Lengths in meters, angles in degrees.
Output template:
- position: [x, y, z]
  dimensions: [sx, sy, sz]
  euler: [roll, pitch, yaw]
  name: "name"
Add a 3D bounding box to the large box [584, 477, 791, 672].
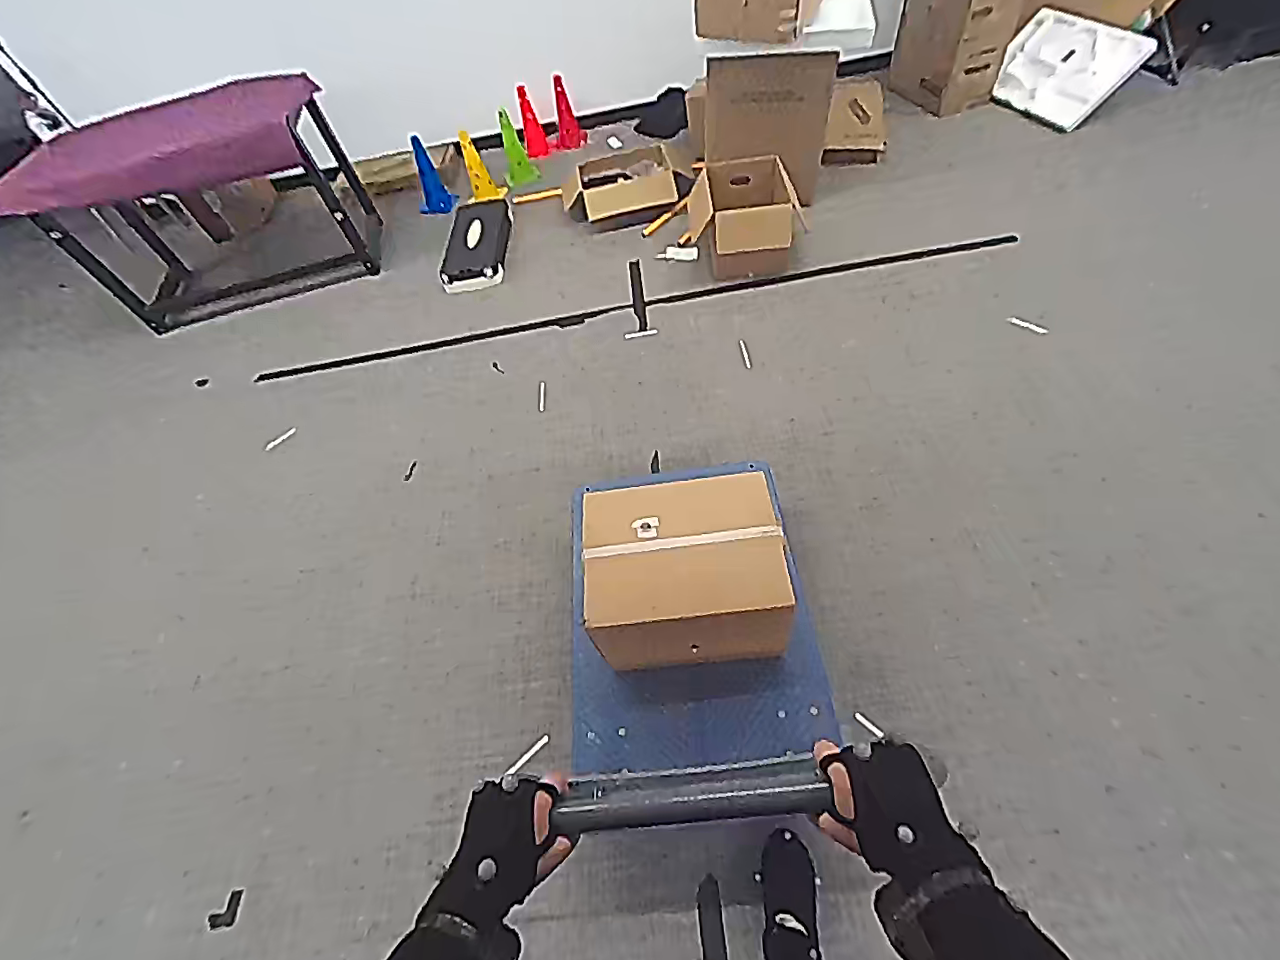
- position: [0.106, 0.230, 1.248]
  dimensions: [0.408, 0.320, 0.320]
  euler: [-9, 54, 5]
  name: "large box"
